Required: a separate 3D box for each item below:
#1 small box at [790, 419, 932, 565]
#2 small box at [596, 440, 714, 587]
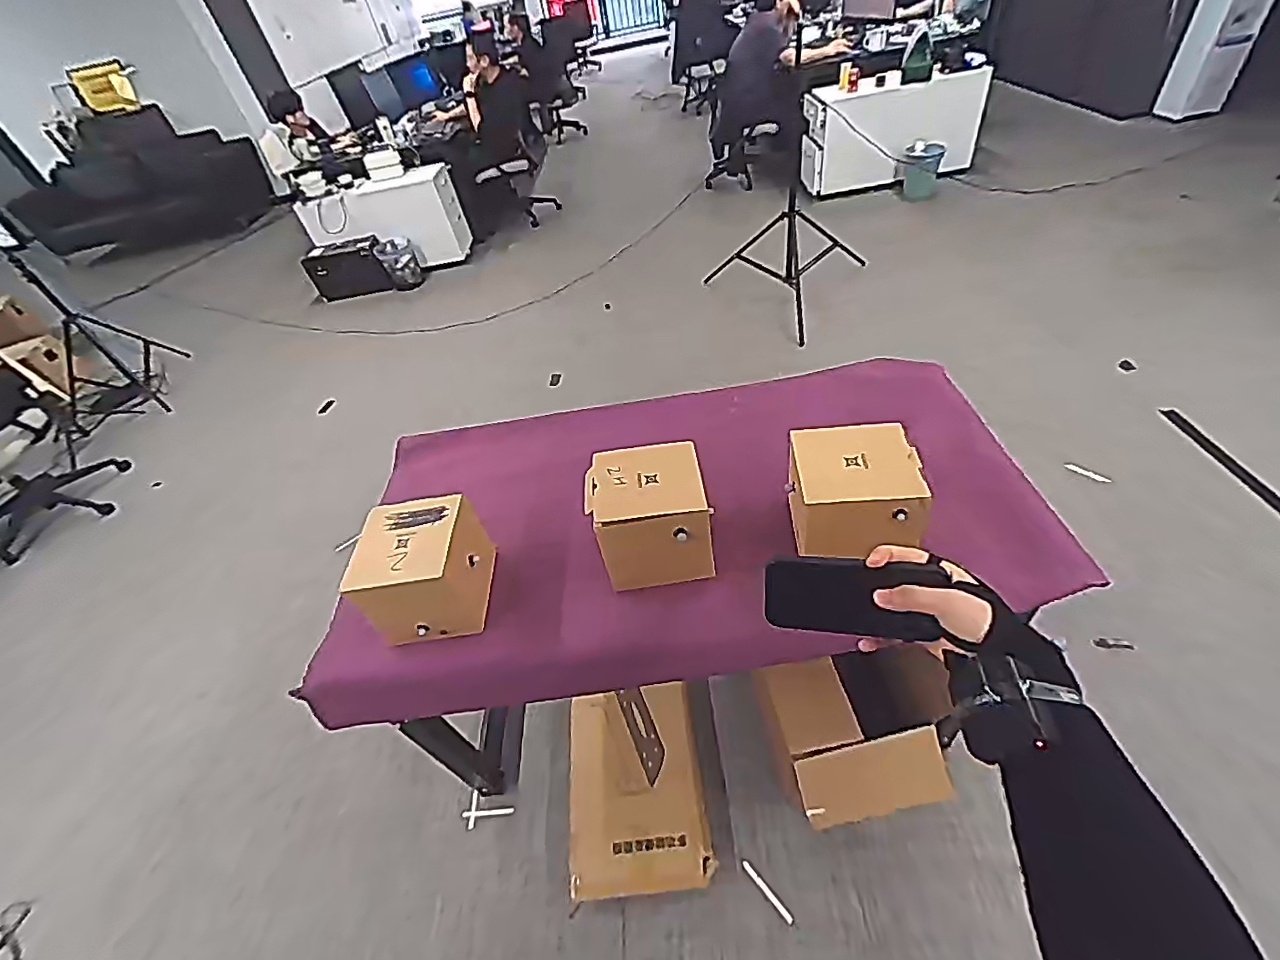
[{"bbox_3d":[0.341,0.024,0.875,0.179,0.176,0.168,-4,45,9],"label":"small box"},{"bbox_3d":[0.027,0.059,0.911,0.179,0.176,0.168,-10,42,4],"label":"small box"}]
